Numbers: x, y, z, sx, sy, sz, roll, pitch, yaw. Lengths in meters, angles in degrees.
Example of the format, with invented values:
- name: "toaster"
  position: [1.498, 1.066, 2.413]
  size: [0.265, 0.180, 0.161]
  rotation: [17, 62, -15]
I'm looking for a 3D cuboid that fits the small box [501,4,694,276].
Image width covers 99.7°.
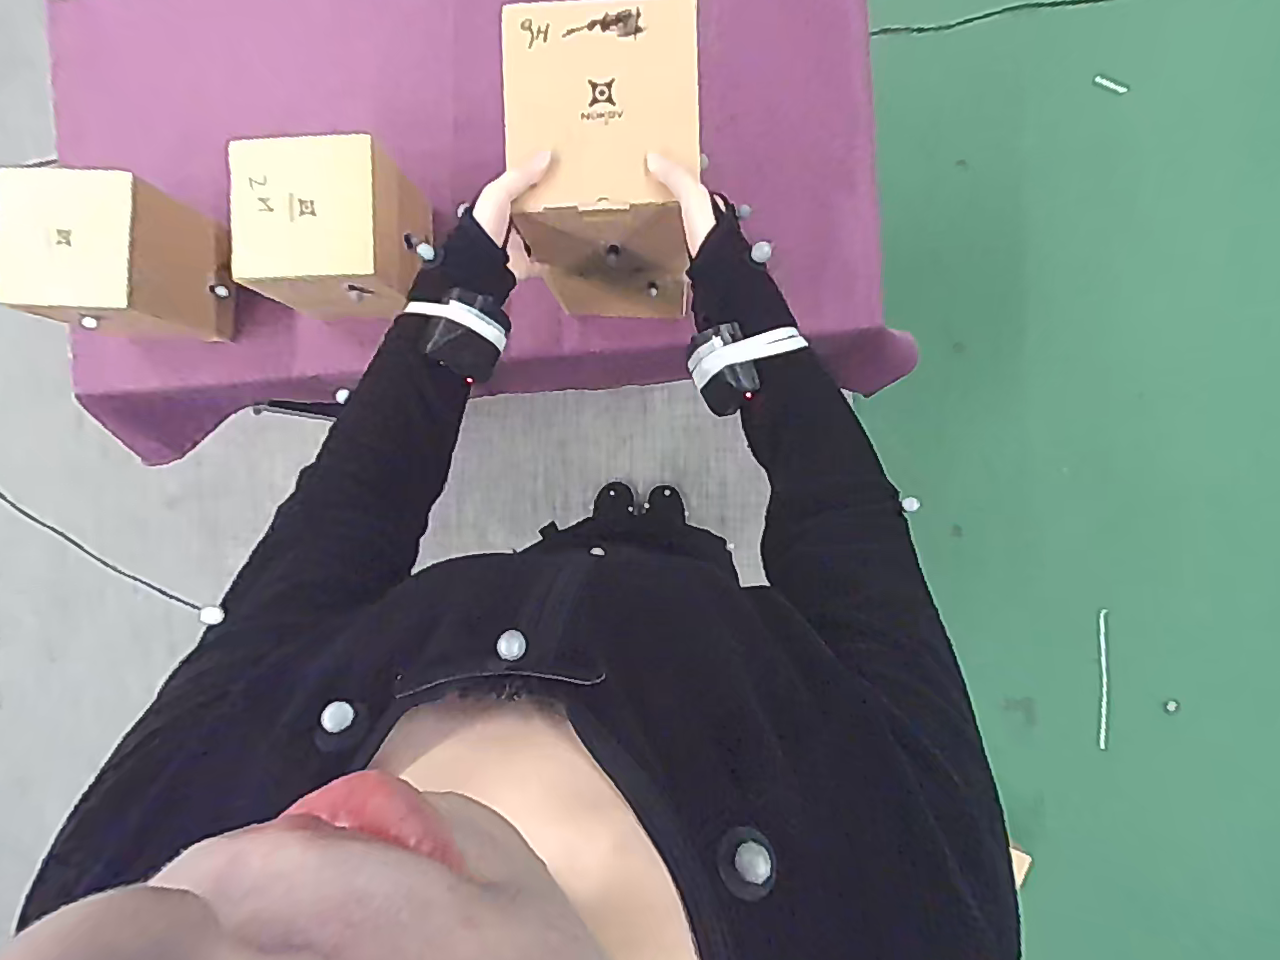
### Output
- name: "small box"
  position: [-0.032, -0.313, 0.538]
  size: [0.168, 0.176, 0.179]
  rotation: [-1, 92, 2]

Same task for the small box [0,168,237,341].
- name: "small box"
  position: [-0.693, -0.293, 0.733]
  size: [0.179, 0.176, 0.168]
  rotation: [4, 91, 2]

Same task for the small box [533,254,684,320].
- name: "small box"
  position: [-0.029, -0.314, 0.702]
  size: [0.179, 0.176, 0.168]
  rotation: [3, 90, 2]

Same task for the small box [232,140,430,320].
- name: "small box"
  position: [-0.394, -0.318, 0.718]
  size: [0.179, 0.176, 0.168]
  rotation: [0, 89, 3]
